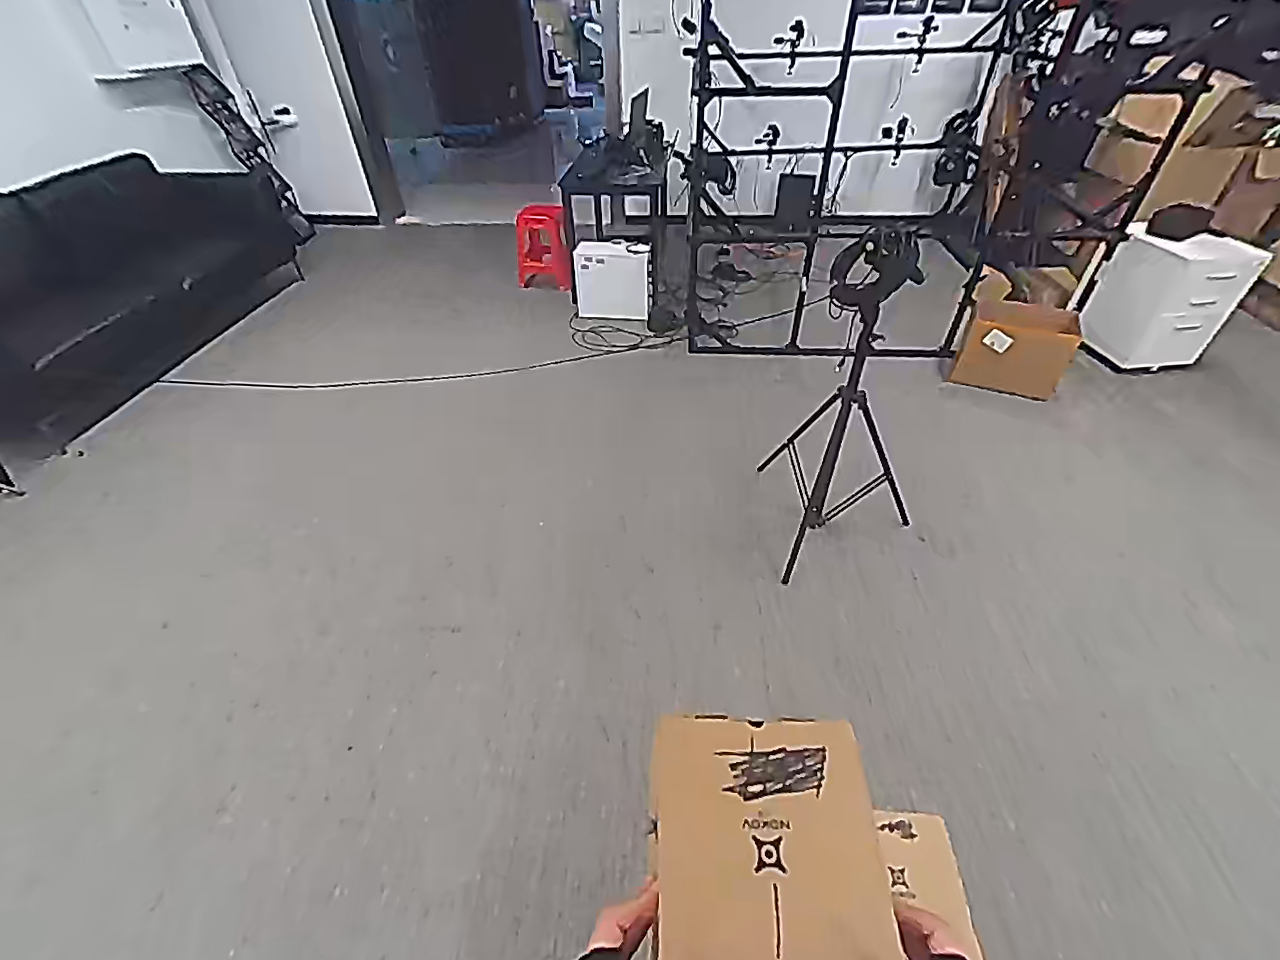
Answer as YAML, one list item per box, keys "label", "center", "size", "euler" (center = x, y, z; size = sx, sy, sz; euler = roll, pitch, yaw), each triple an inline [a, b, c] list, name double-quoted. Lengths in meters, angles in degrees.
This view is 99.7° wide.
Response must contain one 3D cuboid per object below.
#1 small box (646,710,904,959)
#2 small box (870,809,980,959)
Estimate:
- label: "small box"
  center: [0.090, 0.313, 0.457]
  size: [0.168, 0.176, 0.179]
  euler: [1, 50, 0]
- label: "small box"
  center: [0.328, 0.578, 0.749]
  size: [0.168, 0.176, 0.179]
  euler: [4, 44, 3]
